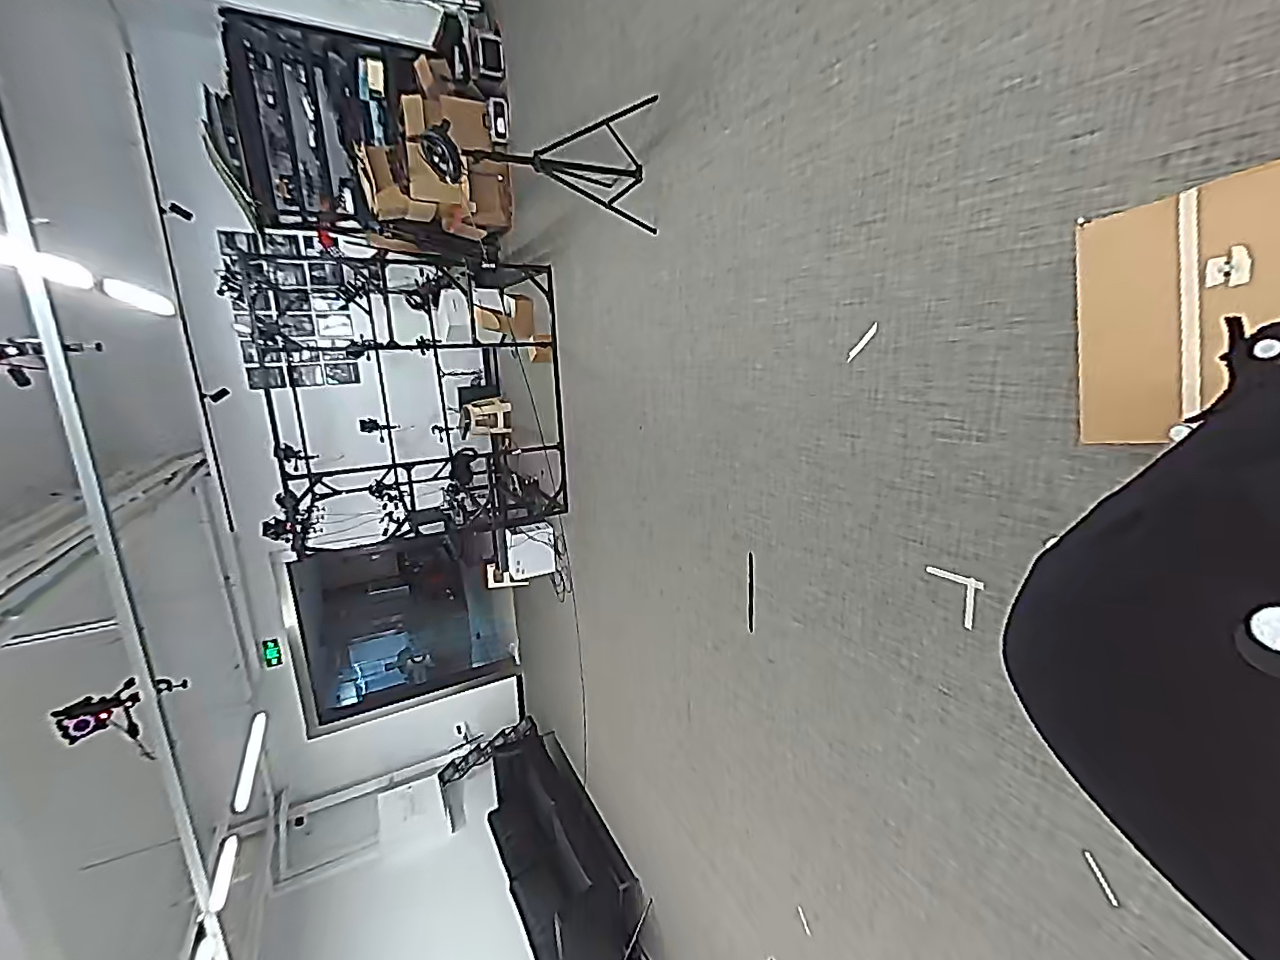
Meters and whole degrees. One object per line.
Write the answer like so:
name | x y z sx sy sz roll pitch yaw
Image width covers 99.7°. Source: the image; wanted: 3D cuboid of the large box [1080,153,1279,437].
large box | 1.026 -0.291 0.933 0.320 0.320 0.408 4 101 62
